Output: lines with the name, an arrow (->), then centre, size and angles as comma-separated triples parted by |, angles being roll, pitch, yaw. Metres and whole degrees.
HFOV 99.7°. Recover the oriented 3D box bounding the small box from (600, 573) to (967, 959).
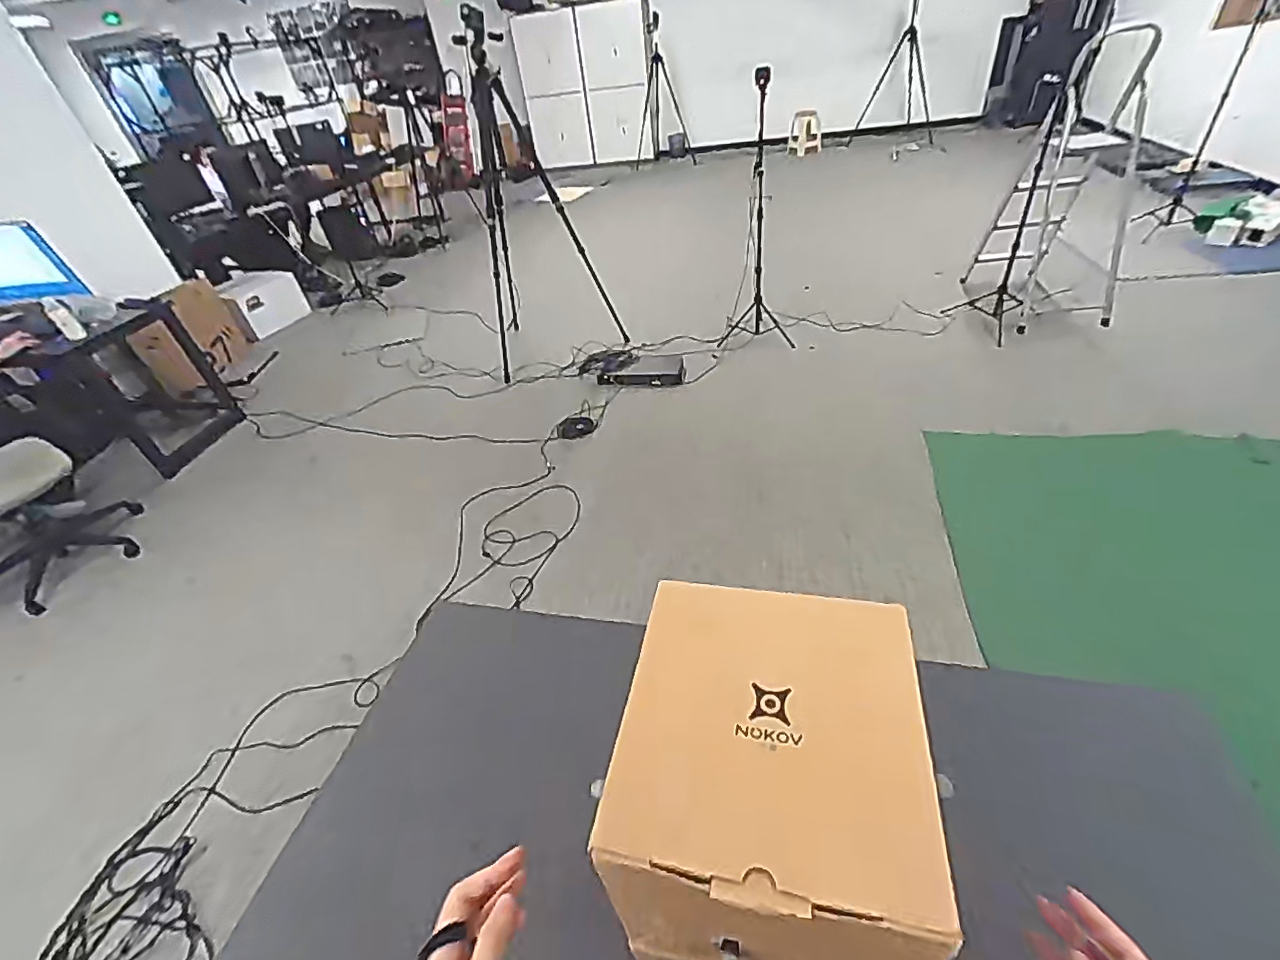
small box -> 0.085, 0.188, 0.355 | 0.168, 0.176, 0.179 | 3, 40, 14
